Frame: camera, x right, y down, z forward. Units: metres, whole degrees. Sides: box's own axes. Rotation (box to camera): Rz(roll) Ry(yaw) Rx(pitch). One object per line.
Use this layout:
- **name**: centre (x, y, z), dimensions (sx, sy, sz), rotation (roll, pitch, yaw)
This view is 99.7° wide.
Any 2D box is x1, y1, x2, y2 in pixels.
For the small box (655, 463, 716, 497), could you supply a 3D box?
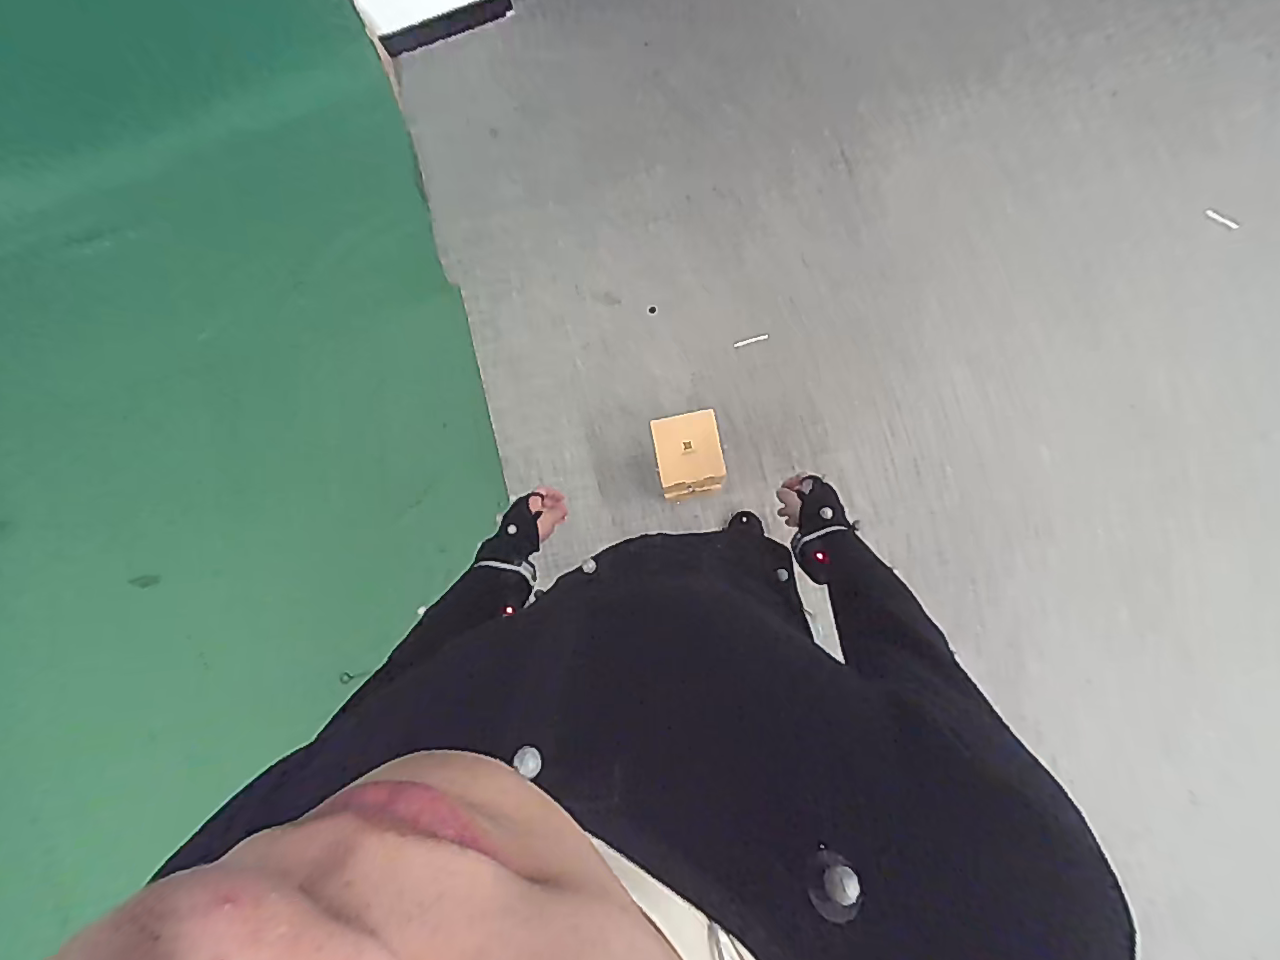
- **small box**: centre (0.126, -0.048, 1.586), dimensions (0.168, 0.176, 0.179), rotation (-10, 82, 4)

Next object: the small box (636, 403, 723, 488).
- **small box**: centre (0.108, -0.084, 1.436), dimensions (0.179, 0.176, 0.168), rotation (21, 88, 8)
